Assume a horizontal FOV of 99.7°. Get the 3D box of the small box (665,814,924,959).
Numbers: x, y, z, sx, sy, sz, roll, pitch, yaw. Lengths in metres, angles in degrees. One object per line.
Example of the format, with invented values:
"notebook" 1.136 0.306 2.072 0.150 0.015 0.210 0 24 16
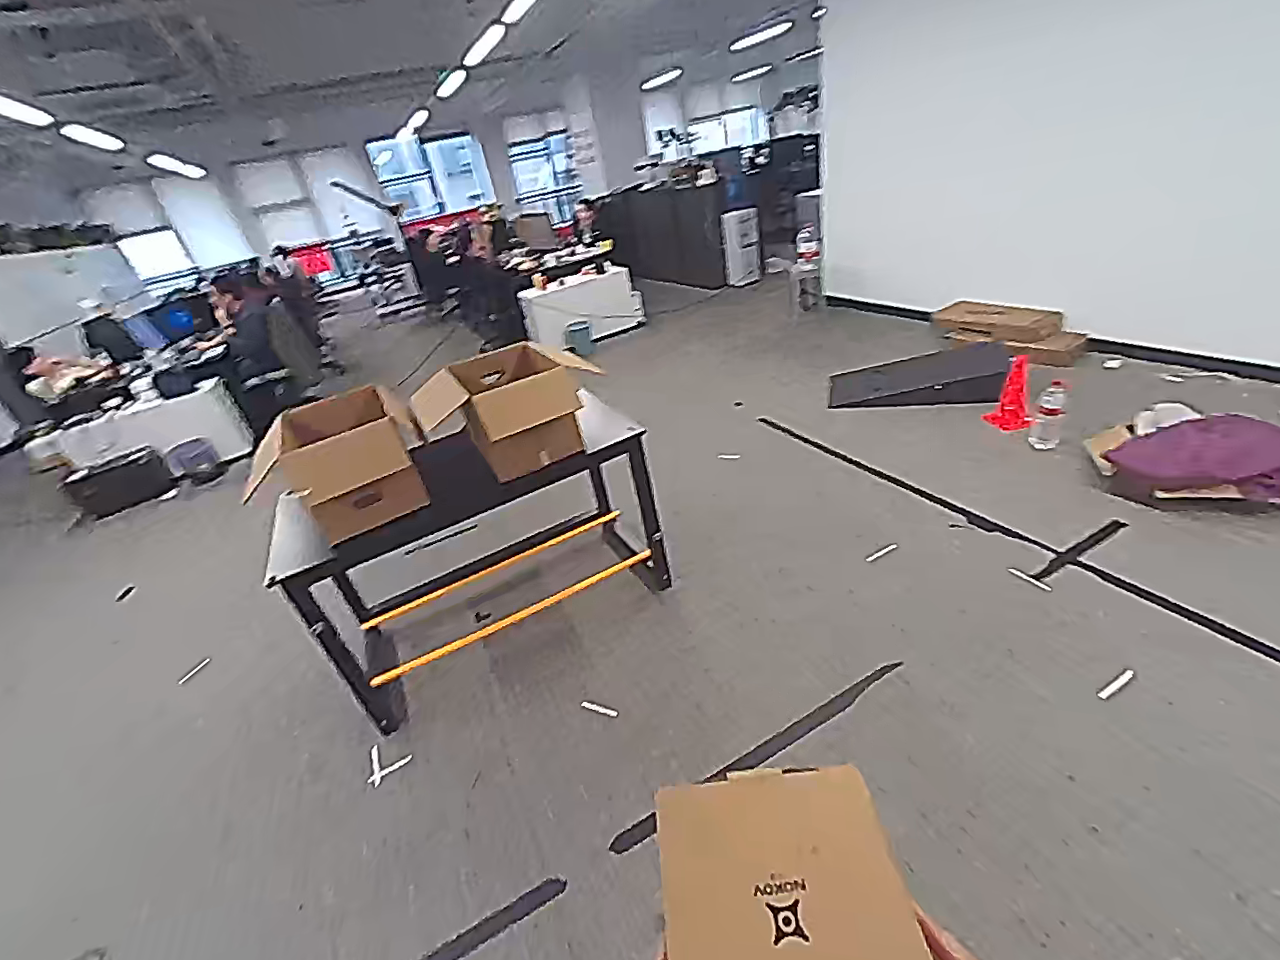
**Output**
"small box" 0.111 0.383 0.397 0.168 0.176 0.179 -8 35 1
